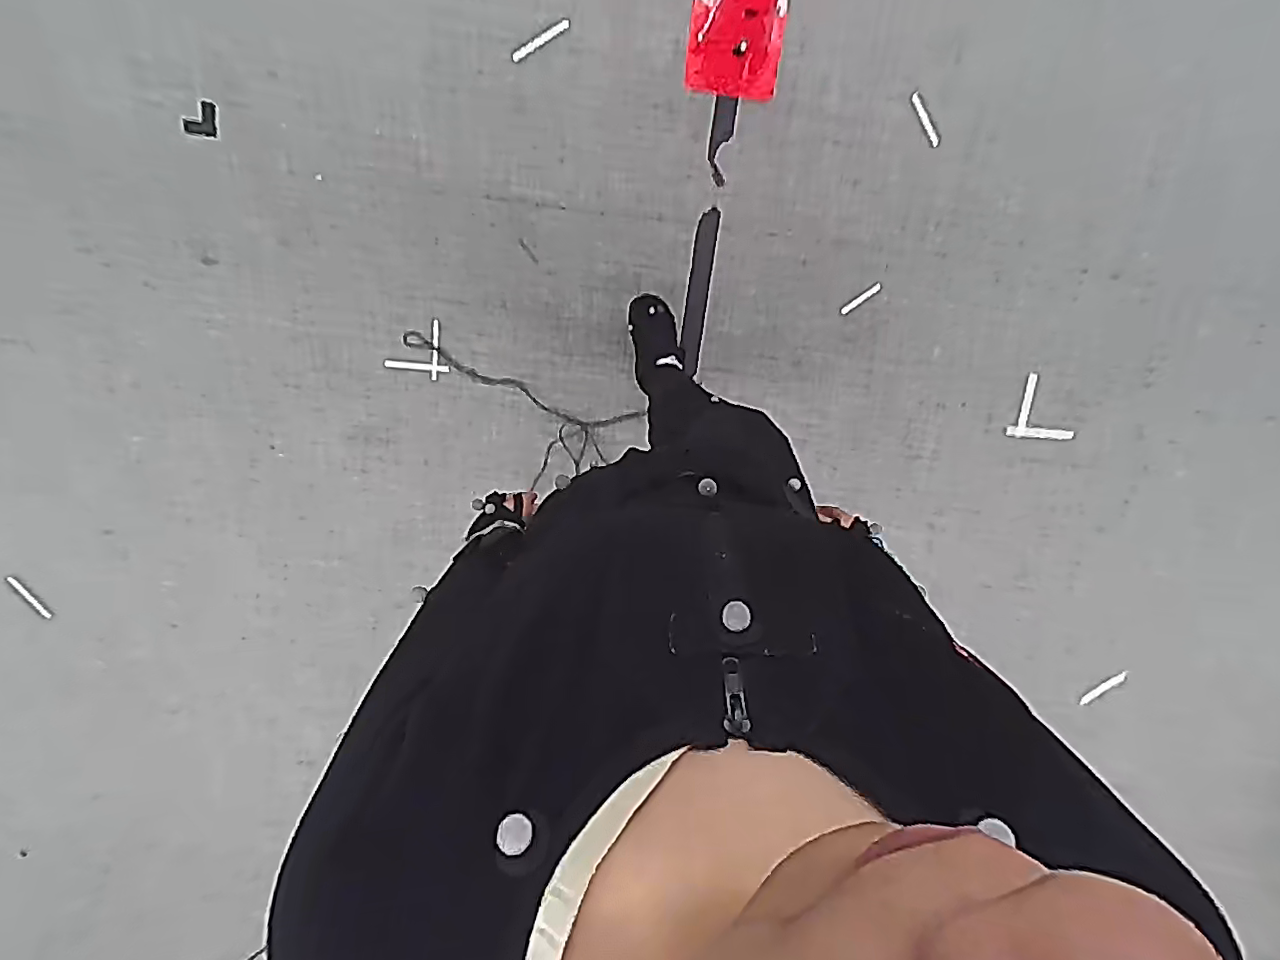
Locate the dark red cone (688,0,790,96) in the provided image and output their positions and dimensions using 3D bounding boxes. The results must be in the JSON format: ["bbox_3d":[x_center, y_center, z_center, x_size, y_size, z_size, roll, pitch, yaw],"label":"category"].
[{"bbox_3d":[0.206,-0.885,0.968,0.201,0.394,0.202,6,103,-2],"label":"dark red cone"}]
